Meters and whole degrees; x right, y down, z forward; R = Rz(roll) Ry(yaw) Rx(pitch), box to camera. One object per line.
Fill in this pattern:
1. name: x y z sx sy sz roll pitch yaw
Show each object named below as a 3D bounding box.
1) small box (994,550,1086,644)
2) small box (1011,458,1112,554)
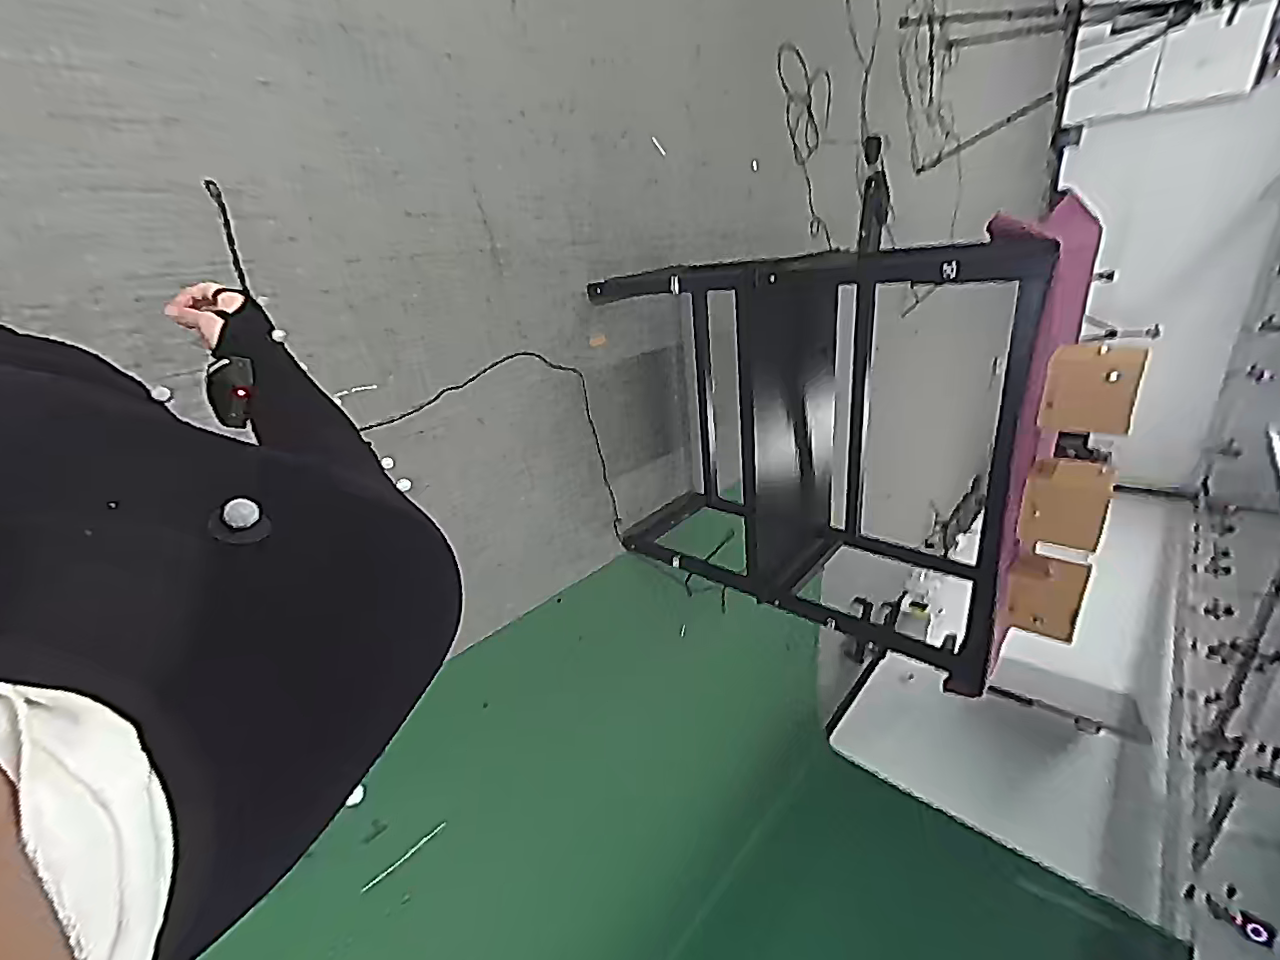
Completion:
1. small box: 1.095 0.314 1.485 0.179 0.176 0.168 -24 118 -43
2. small box: 1.065 0.059 1.376 0.168 0.176 0.179 -29 122 -42
